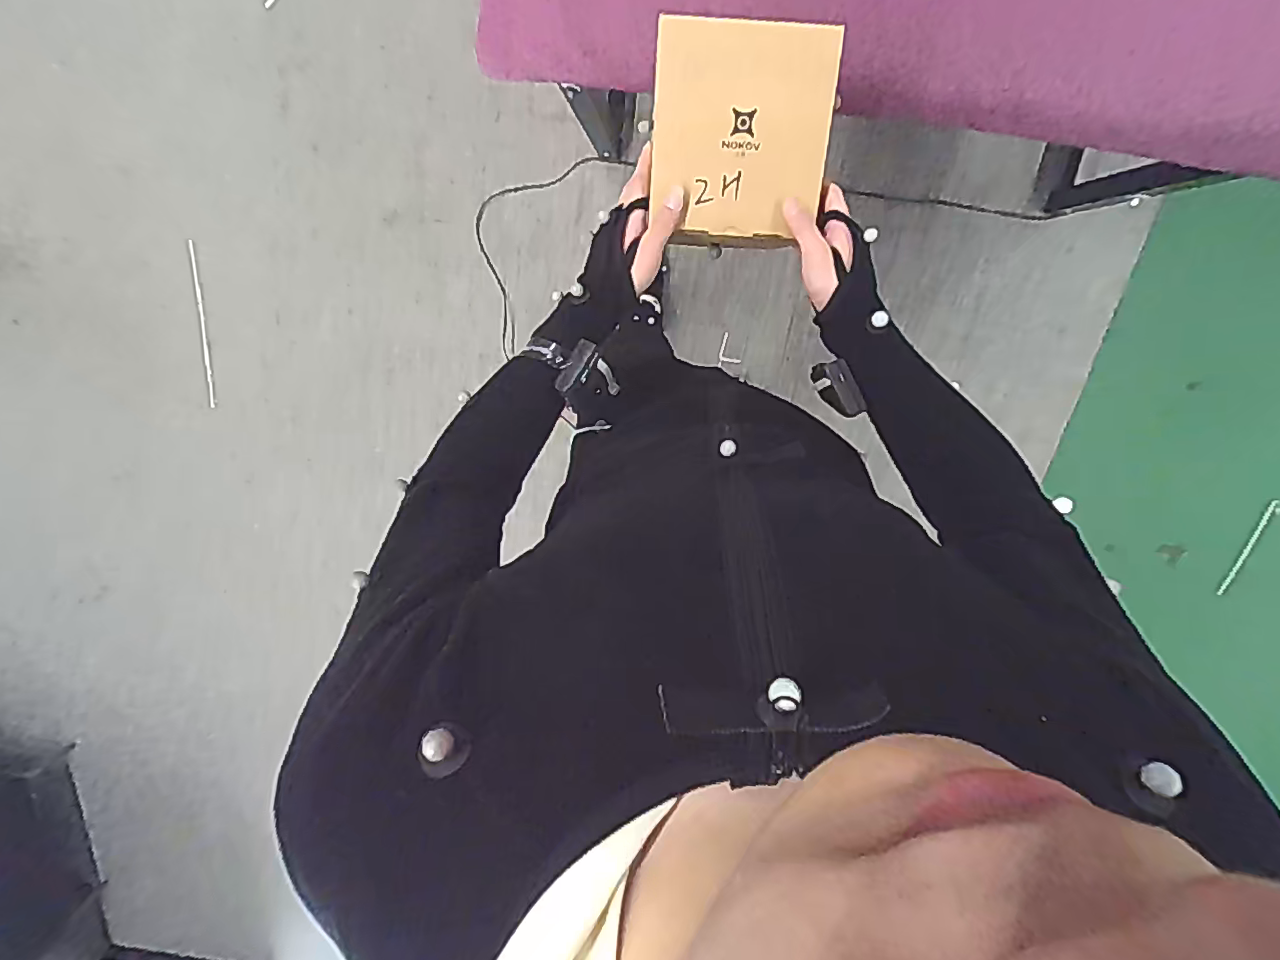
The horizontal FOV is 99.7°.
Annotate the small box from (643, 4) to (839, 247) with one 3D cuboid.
[{"bbox_3d":[0.091,-0.355,0.577,0.168,0.176,0.179,4,110,0],"label":"small box"}]
